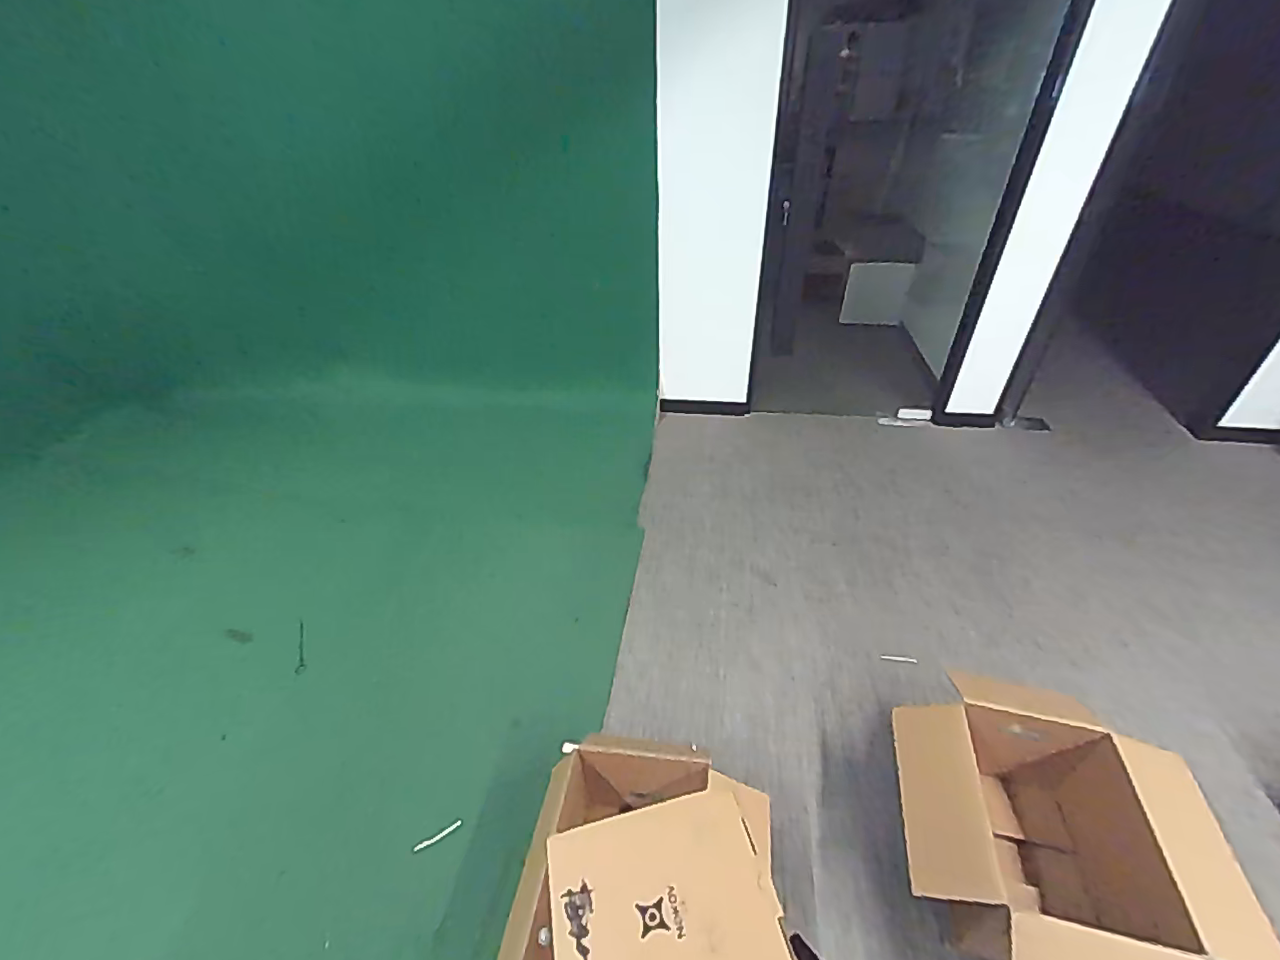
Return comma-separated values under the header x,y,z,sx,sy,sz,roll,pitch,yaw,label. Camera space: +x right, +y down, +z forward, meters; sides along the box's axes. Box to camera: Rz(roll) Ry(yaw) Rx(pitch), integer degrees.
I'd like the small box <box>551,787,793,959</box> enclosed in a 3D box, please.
x,y,z,sx,sy,sz,roll,pitch,yaw,label
0.024,0.410,0.471,0.179,0.176,0.168,-10,32,-7,small box
